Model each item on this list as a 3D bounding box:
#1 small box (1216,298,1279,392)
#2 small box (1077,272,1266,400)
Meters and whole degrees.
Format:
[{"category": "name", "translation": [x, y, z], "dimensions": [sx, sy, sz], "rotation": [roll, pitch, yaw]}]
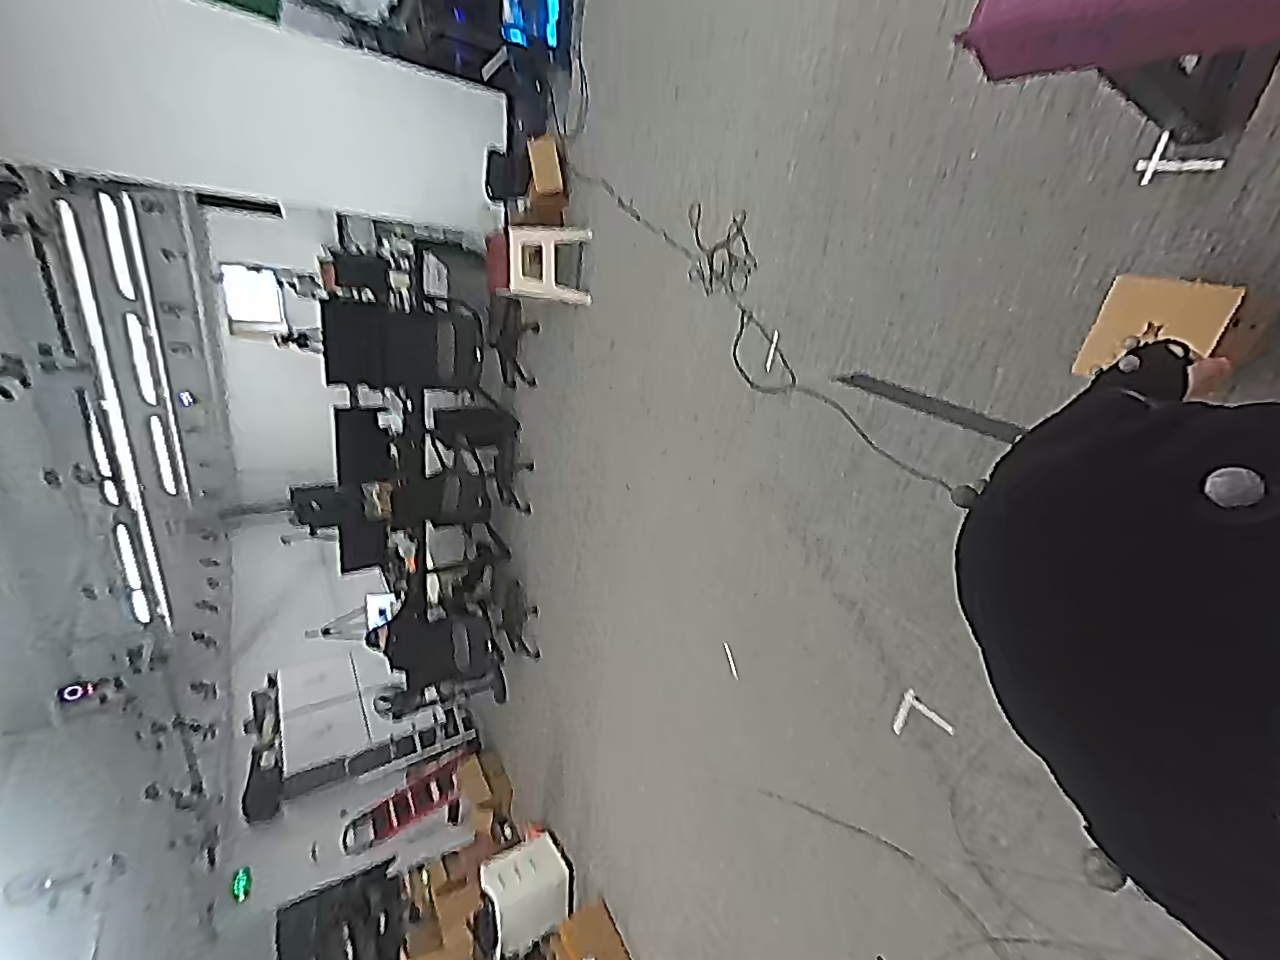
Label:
[{"category": "small box", "translation": [1.049, -0.272, 1.028], "dimensions": [0.168, 0.176, 0.179], "rotation": [44, 130, 43]}, {"category": "small box", "translation": [0.915, -0.249, 0.933], "dimensions": [0.168, 0.176, 0.179], "rotation": [38, 127, 47]}]
